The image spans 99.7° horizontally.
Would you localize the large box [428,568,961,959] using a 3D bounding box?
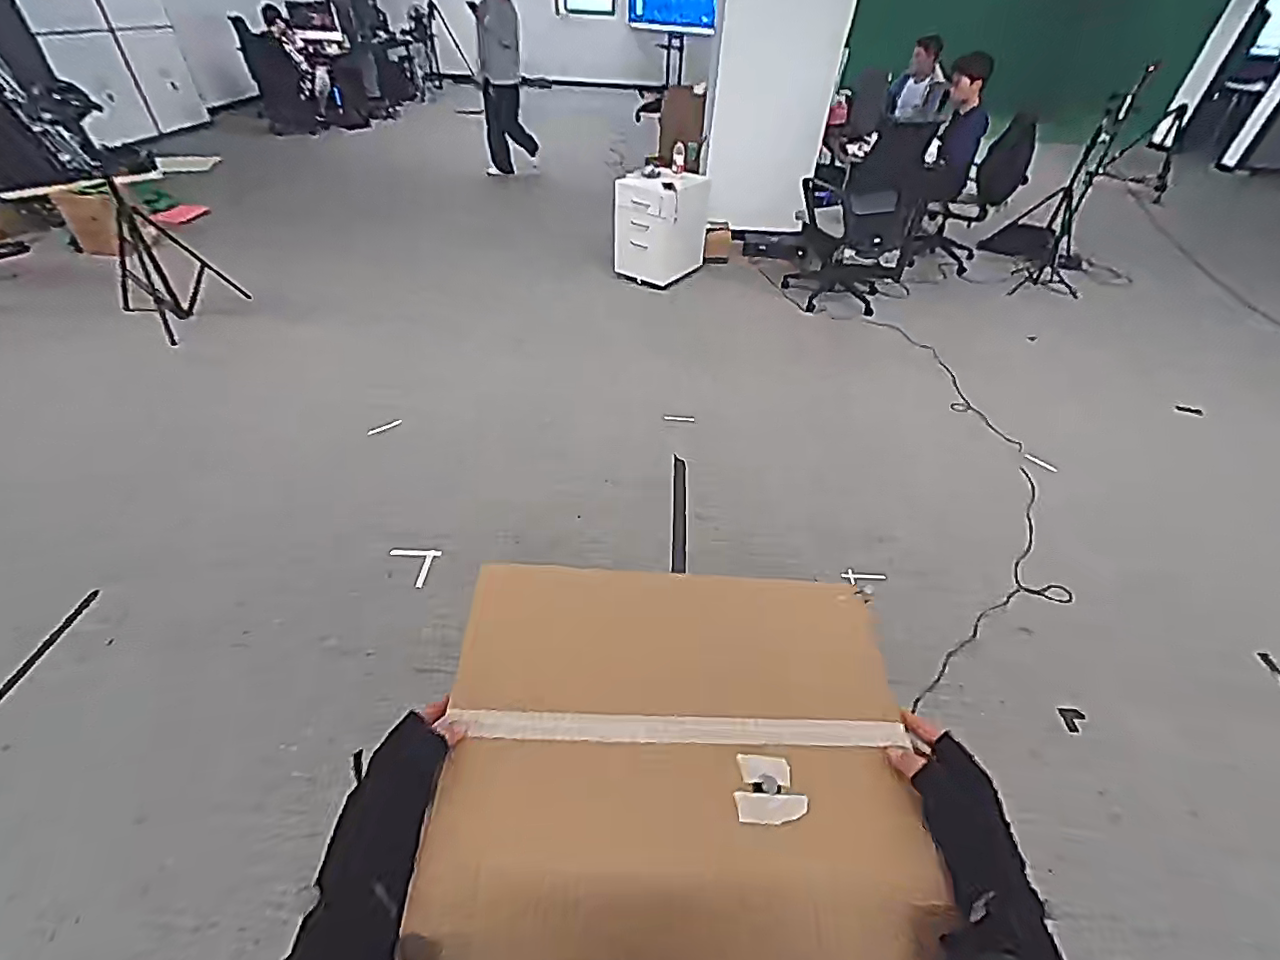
[{"bbox_3d":[0.029,0.316,0.597,0.408,0.320,0.320,4,50,-5],"label":"large box"}]
